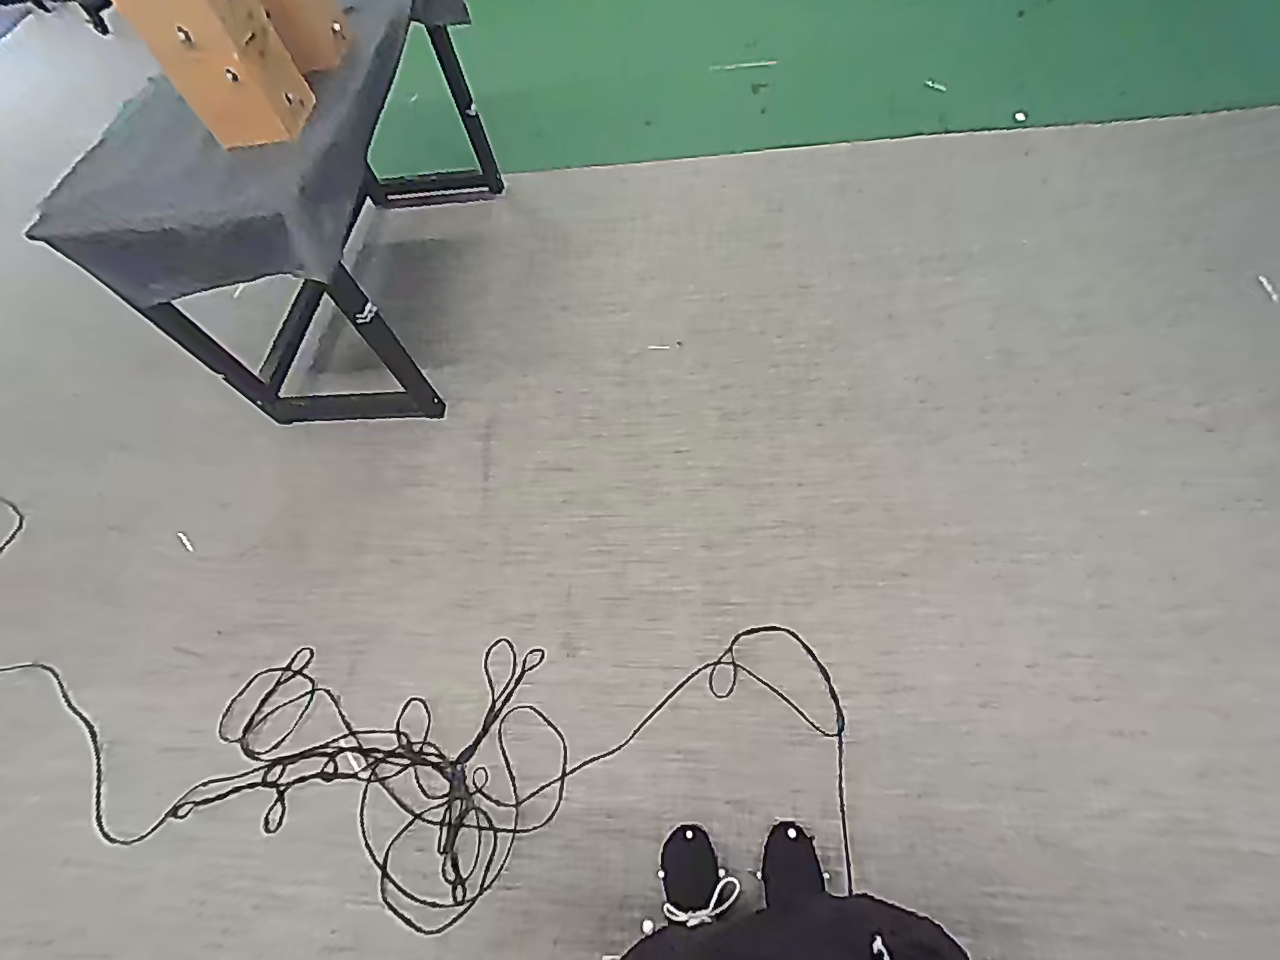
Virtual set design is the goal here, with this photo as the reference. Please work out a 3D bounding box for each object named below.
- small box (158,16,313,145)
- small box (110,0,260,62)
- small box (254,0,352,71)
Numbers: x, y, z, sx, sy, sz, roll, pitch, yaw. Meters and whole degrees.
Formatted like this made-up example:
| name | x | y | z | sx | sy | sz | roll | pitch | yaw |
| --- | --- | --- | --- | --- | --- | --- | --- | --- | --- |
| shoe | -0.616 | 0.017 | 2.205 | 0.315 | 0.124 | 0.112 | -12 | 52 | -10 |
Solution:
| name | x | y | z | sx | sy | sz | roll | pitch | yaw |
| --- | --- | --- | --- | --- | --- | --- | --- | --- | --- |
| small box | -0.857 | -0.851 | 1.164 | 0.179 | 0.176 | 0.168 | -4 | 61 | 5 |
| small box | -0.873 | -0.933 | 1.023 | 0.179 | 0.176 | 0.168 | -4 | 61 | 4 |
| small box | -0.839 | -1.116 | 1.302 | 0.179 | 0.176 | 0.168 | -2 | 62 | 7 |
